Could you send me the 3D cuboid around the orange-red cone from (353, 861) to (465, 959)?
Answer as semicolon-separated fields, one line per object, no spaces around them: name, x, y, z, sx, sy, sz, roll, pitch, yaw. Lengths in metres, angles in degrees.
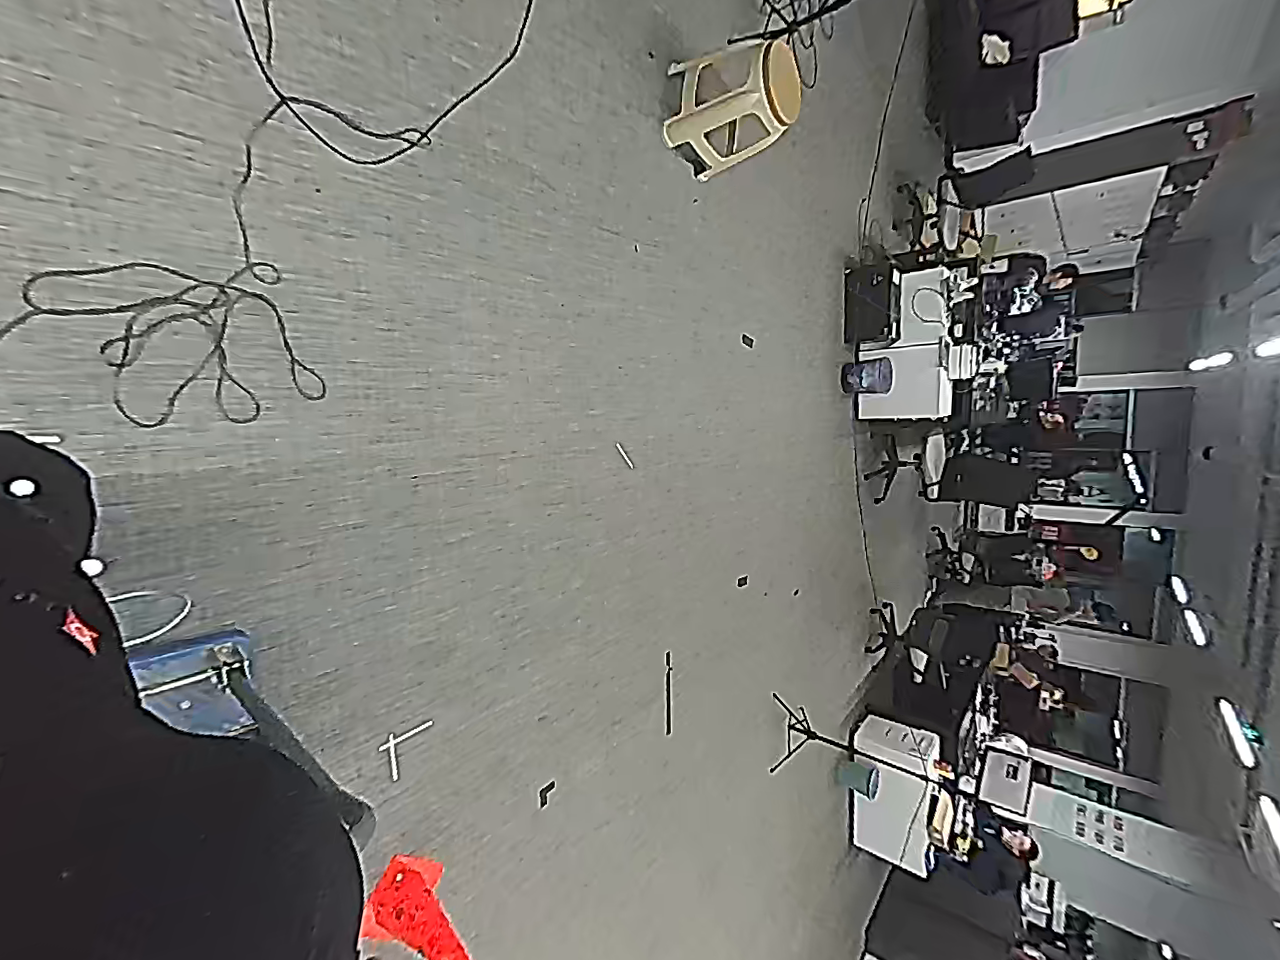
orange-red cone;-0.535;1.188;1.383;0.198;0.360;0.199;52;56;-38
